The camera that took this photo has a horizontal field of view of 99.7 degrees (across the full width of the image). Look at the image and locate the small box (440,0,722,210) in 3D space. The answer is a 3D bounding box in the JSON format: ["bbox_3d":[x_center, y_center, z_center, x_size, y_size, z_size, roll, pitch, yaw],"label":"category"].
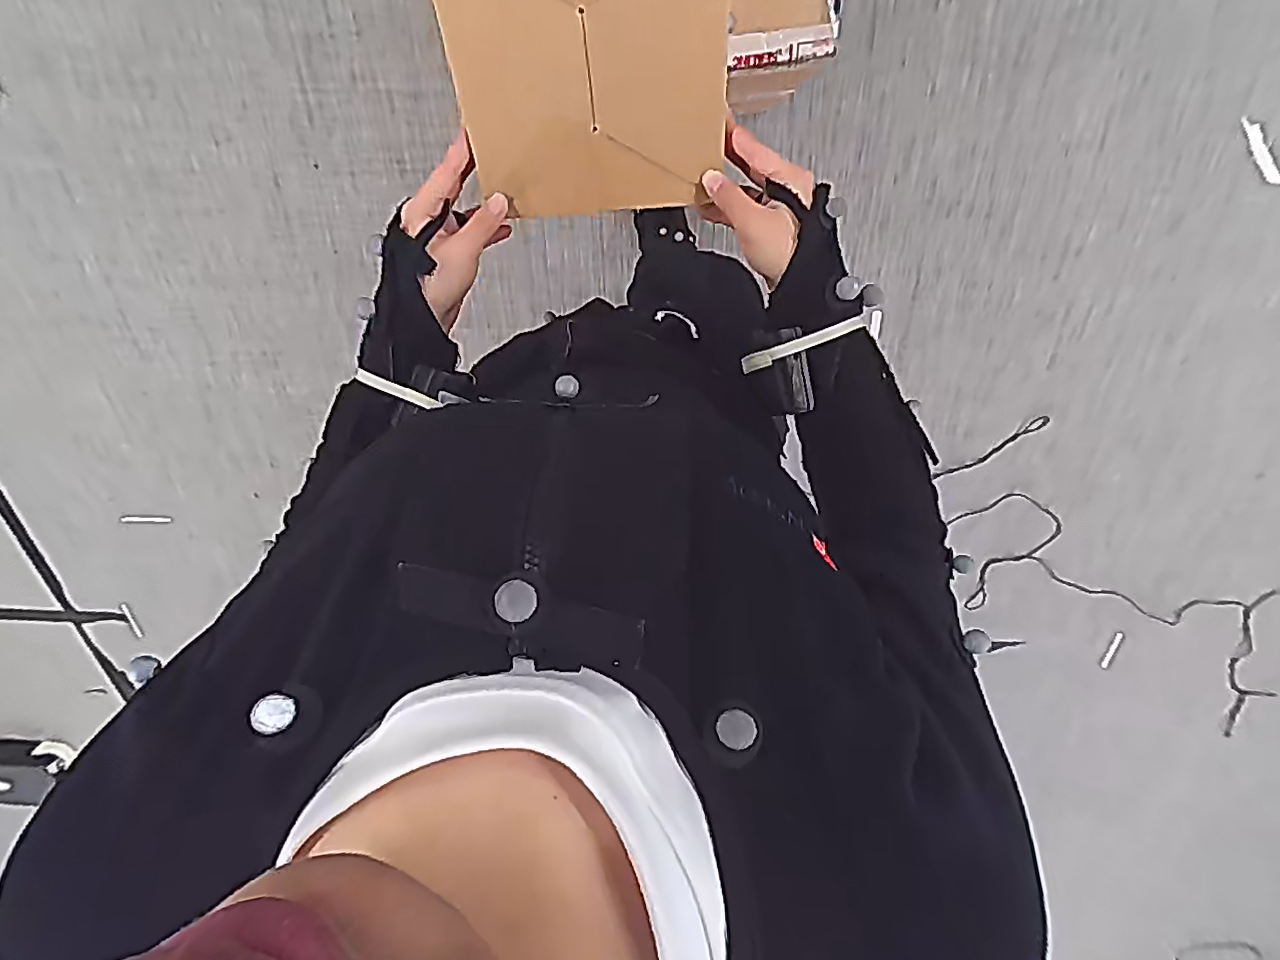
[{"bbox_3d":[-0.035,-0.318,0.405,0.179,0.176,0.168,-2,135,3],"label":"small box"}]
